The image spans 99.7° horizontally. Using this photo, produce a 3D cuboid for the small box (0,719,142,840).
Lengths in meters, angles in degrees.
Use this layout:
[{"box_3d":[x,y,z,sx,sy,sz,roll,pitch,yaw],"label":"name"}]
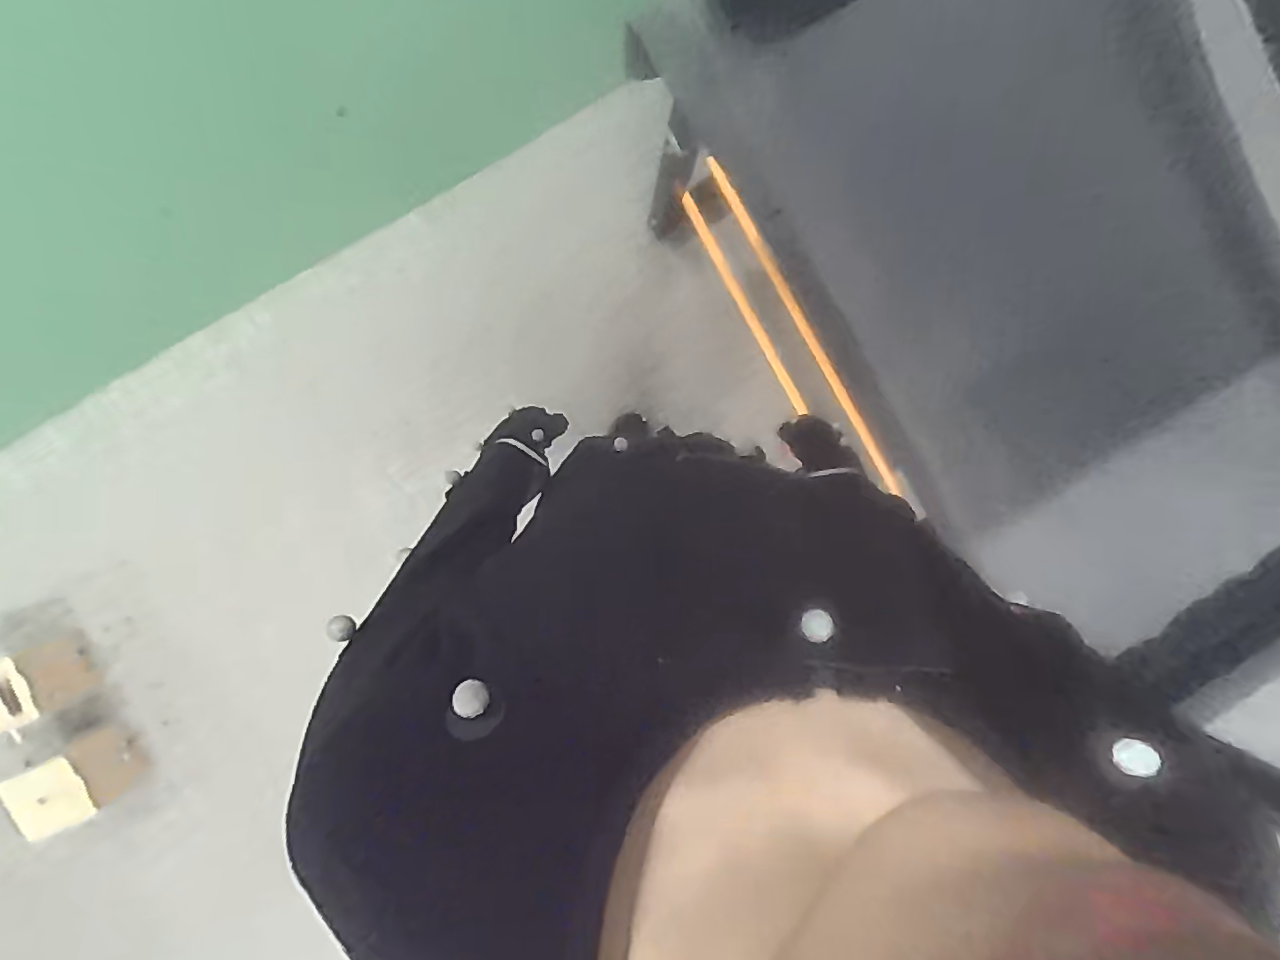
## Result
[{"box_3d":[-1.411,0.730,1.335,0.179,0.176,0.168,-22,97,-3],"label":"small box"}]
